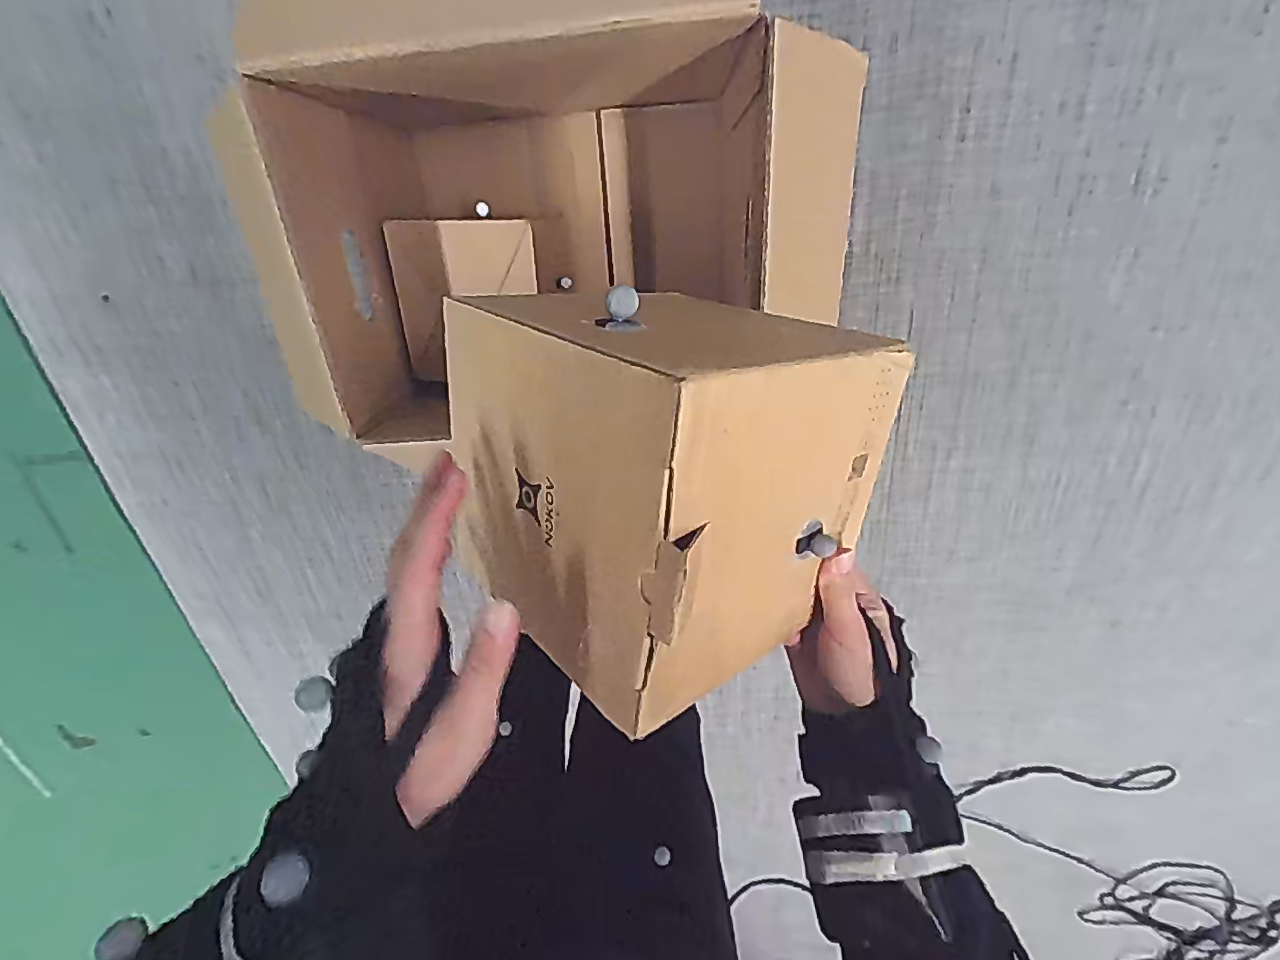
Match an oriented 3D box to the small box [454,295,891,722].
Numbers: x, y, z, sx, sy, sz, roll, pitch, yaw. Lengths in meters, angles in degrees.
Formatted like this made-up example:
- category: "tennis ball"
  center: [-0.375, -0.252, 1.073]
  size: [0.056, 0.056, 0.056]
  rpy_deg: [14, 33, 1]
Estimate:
- category: "small box"
  center: [0.009, -0.009, 0.318]
  size: [0.179, 0.176, 0.168]
  rpy_deg: [29, 123, 40]
